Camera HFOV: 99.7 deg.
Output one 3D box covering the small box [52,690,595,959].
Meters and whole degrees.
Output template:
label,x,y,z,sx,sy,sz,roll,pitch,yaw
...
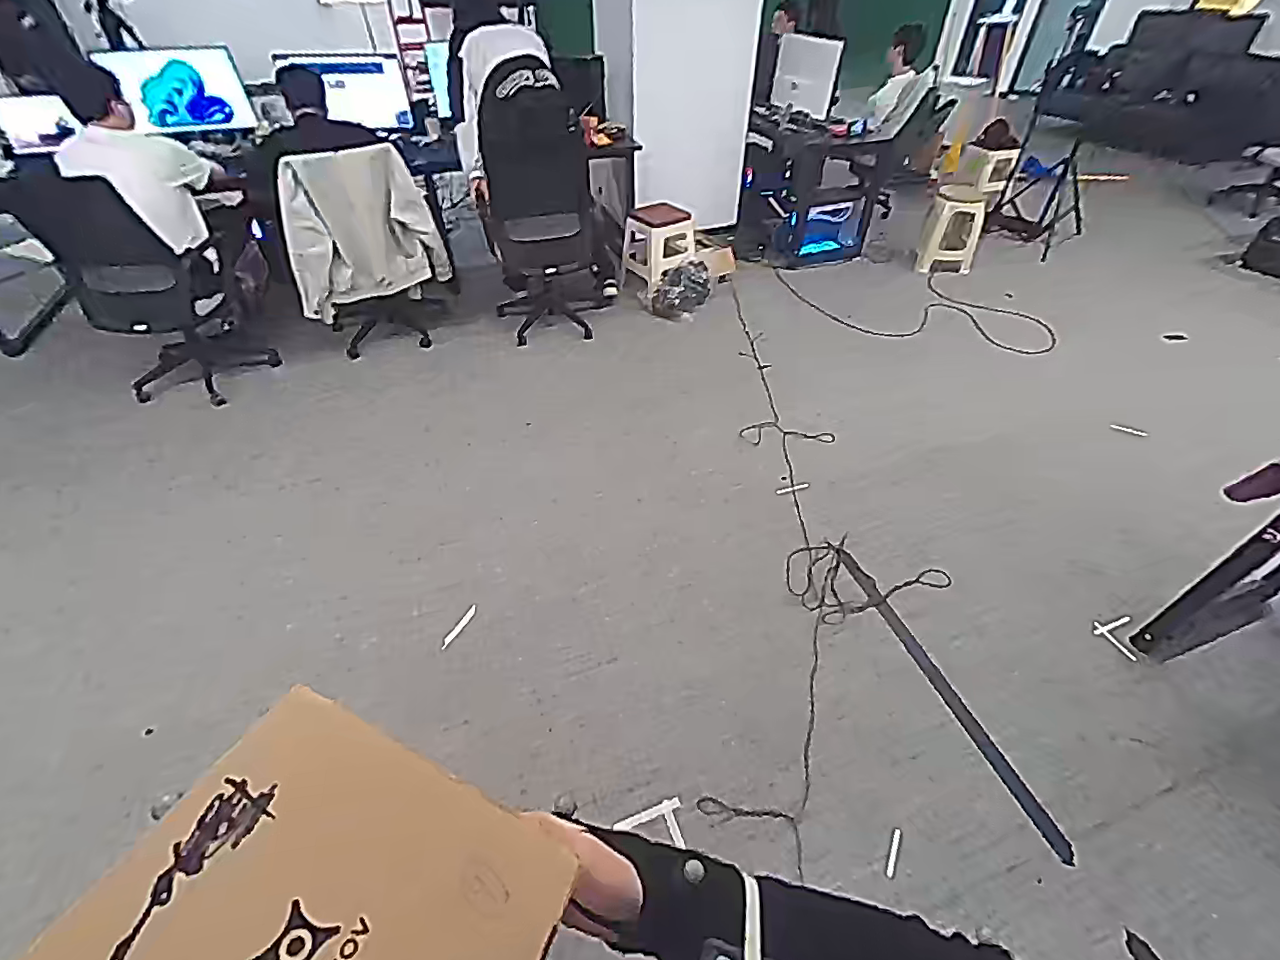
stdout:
label,x,y,z,sx,sy,sz,roll,pitch,yaw
small box,-0.154,0.249,0.273,0.179,0.176,0.168,31,39,2
